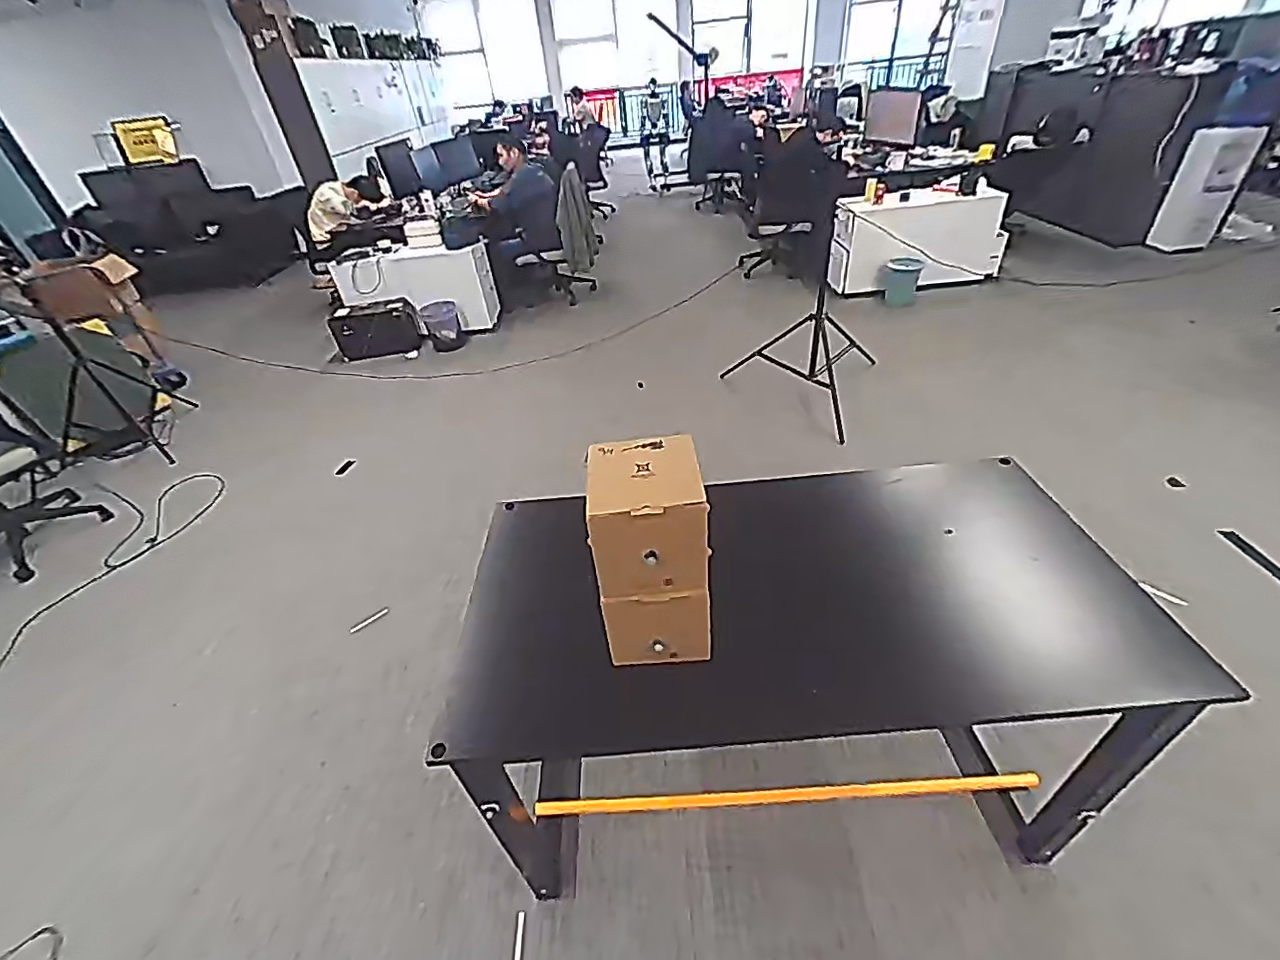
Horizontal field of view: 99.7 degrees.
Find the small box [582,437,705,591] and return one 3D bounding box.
[{"bbox_3d":[0.008,0.057,0.840,0.168,0.176,0.179,-6,38,1],"label":"small box"}]

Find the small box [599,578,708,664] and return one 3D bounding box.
[{"bbox_3d":[0.026,0.192,0.931,0.168,0.176,0.179,-5,37,3],"label":"small box"}]
